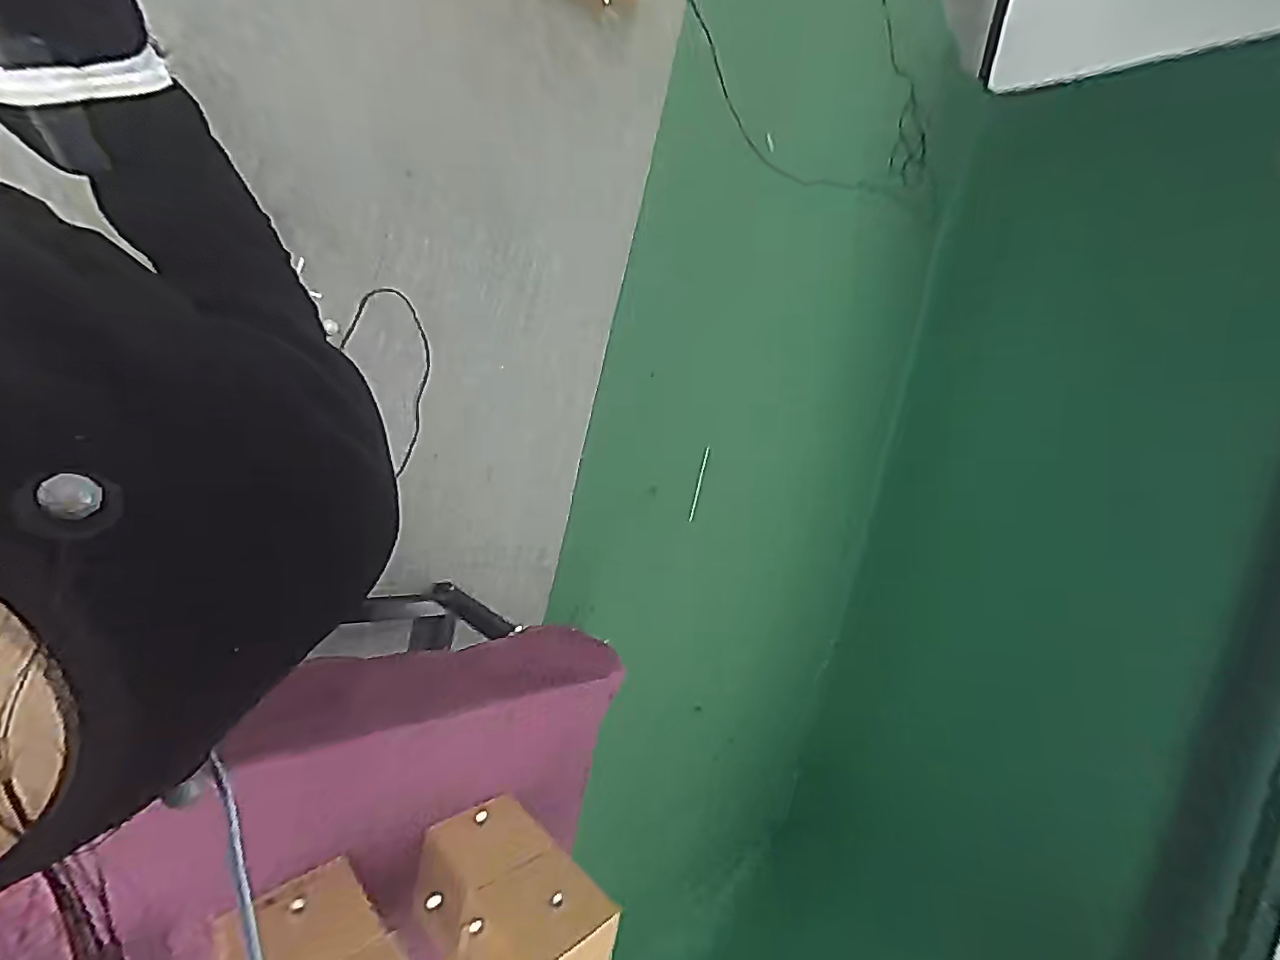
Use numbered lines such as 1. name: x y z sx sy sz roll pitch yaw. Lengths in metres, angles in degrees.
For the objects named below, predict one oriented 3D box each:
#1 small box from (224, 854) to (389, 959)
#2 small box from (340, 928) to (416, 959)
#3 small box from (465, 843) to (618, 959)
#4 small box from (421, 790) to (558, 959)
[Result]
1. small box: -0.484 0.703 0.782 0.168 0.176 0.179 -3 104 -47
2. small box: -0.365 0.734 0.675 0.179 0.176 0.168 0 103 -48
3. small box: -0.166 0.756 0.892 0.179 0.176 0.168 5 98 -48
4. small box: -0.283 0.721 1.002 0.179 0.176 0.168 5 99 -47
